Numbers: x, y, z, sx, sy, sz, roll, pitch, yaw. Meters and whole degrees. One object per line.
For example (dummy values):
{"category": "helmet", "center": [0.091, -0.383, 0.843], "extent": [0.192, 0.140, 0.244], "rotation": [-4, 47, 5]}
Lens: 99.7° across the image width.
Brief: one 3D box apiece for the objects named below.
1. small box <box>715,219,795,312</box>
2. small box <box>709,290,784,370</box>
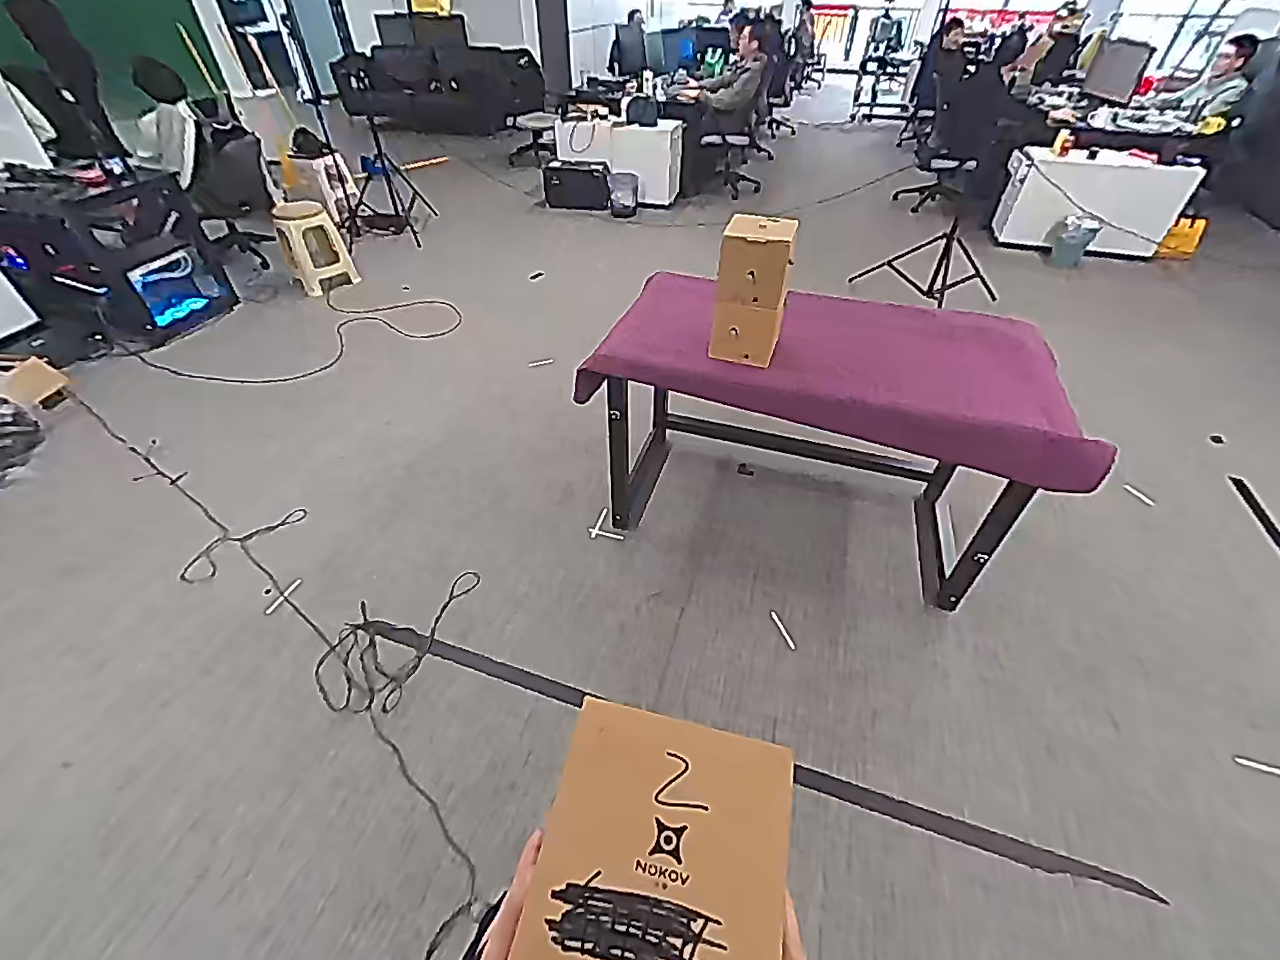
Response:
{"category": "small box", "center": [0.293, -0.551, 1.390], "extent": [0.168, 0.176, 0.179], "rotation": [13, 44, 12]}
{"category": "small box", "center": [0.292, -0.426, 1.496], "extent": [0.168, 0.176, 0.179], "rotation": [14, 43, 13]}
